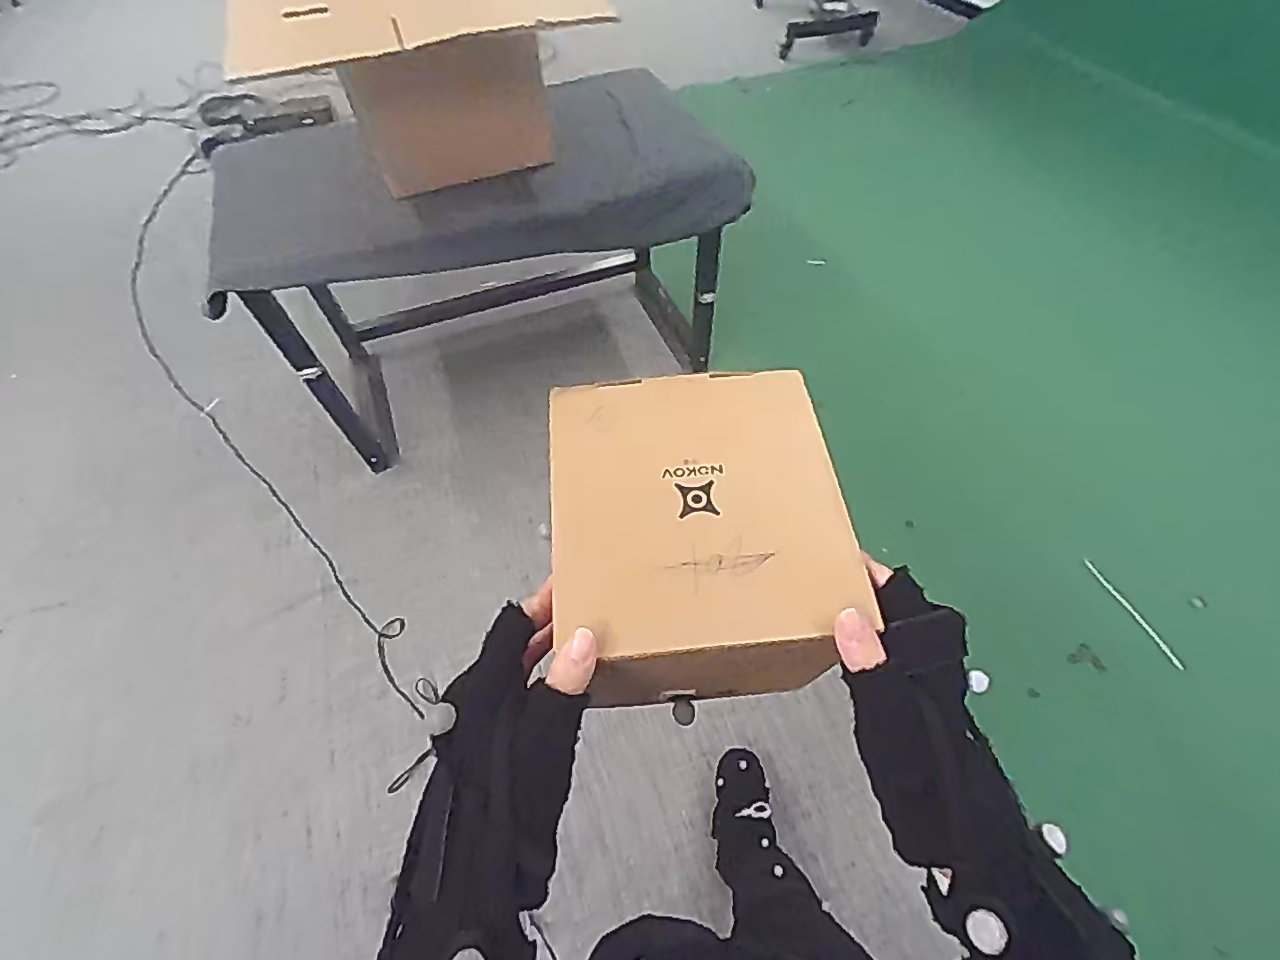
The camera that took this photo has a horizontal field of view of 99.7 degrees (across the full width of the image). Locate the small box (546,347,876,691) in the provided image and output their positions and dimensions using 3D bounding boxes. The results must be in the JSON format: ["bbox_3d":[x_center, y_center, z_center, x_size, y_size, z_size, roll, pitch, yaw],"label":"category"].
[{"bbox_3d":[0.028,0.033,0.374,0.168,0.176,0.179,-5,59,-3],"label":"small box"}]
